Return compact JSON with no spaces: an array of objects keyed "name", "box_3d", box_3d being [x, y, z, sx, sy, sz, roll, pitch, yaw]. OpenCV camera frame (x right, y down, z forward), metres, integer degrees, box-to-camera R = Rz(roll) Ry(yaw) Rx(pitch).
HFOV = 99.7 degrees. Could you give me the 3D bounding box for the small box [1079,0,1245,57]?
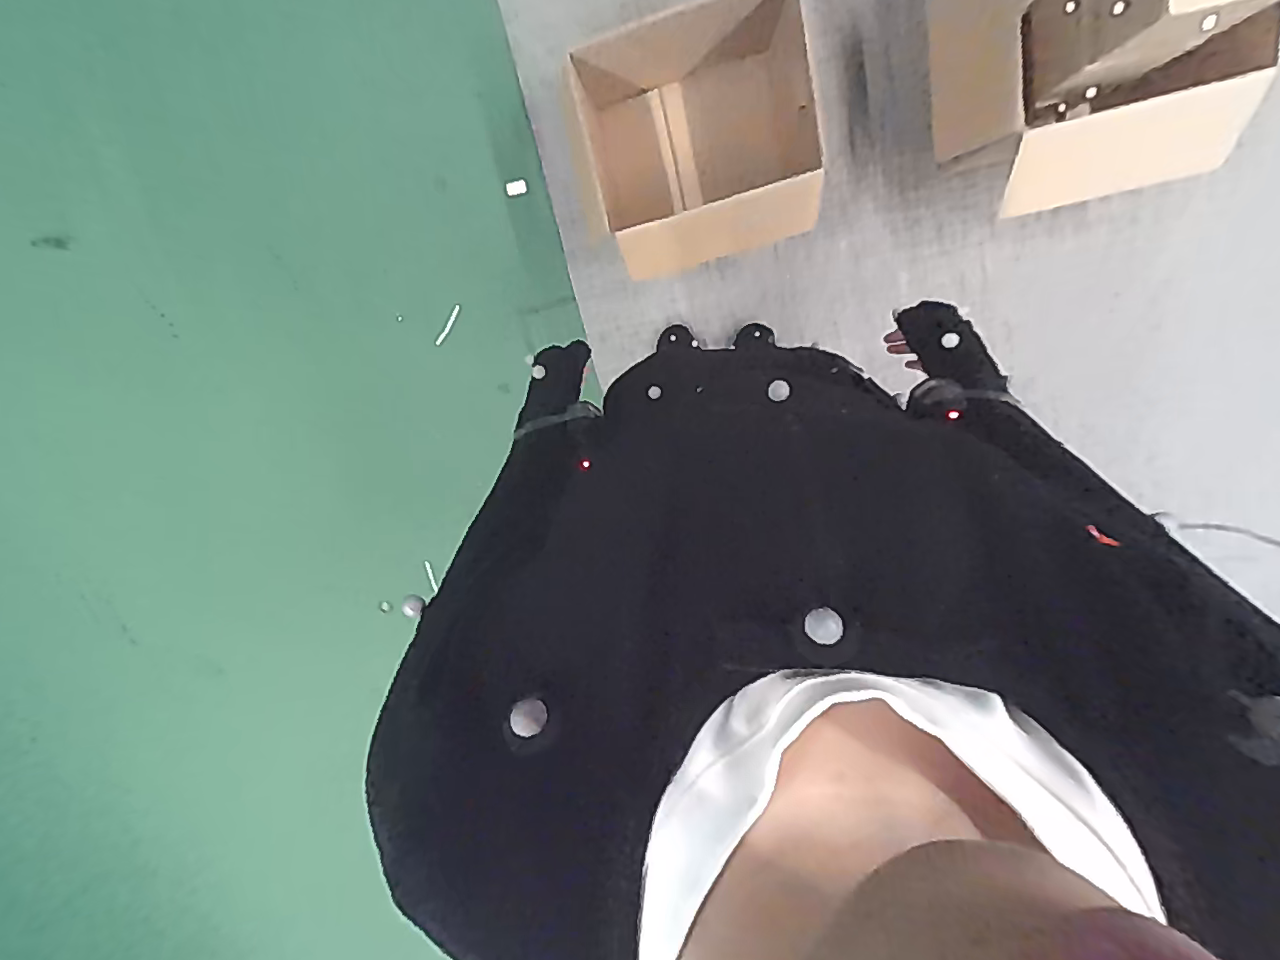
[{"name":"small box","box_3d":[0.769,-0.745,0.768,0.179,0.176,0.168,-10,108,9]}]
